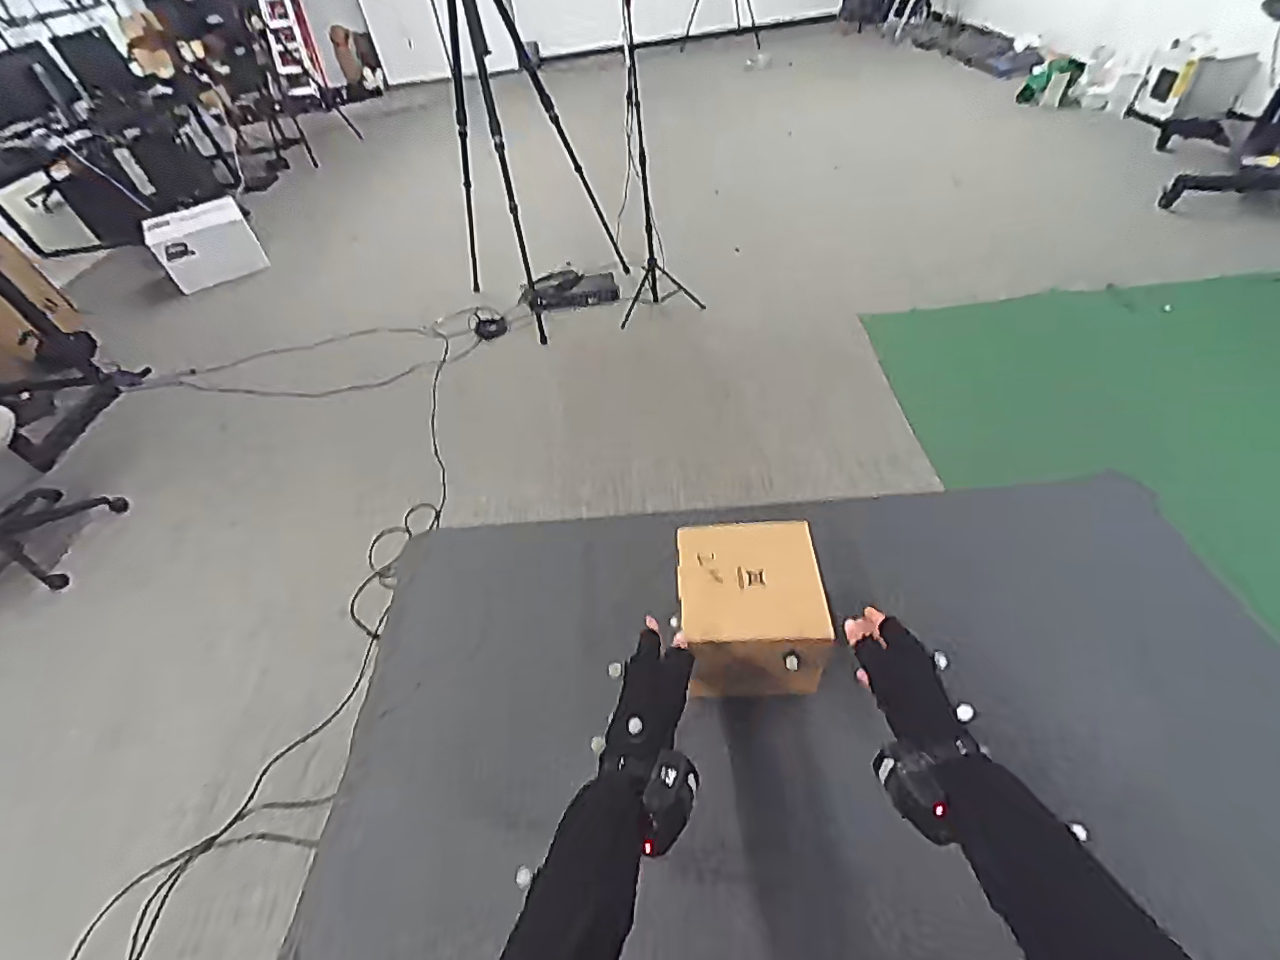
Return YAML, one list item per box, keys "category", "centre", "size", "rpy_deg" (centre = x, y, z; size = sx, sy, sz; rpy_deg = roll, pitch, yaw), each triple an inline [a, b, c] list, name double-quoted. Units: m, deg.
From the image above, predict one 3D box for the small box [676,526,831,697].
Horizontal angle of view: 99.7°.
- category: "small box"
  centre: [0.140, 0.179, 0.725]
  size: [0.179, 0.176, 0.168]
  rpy_deg: [-3, 47, 6]
